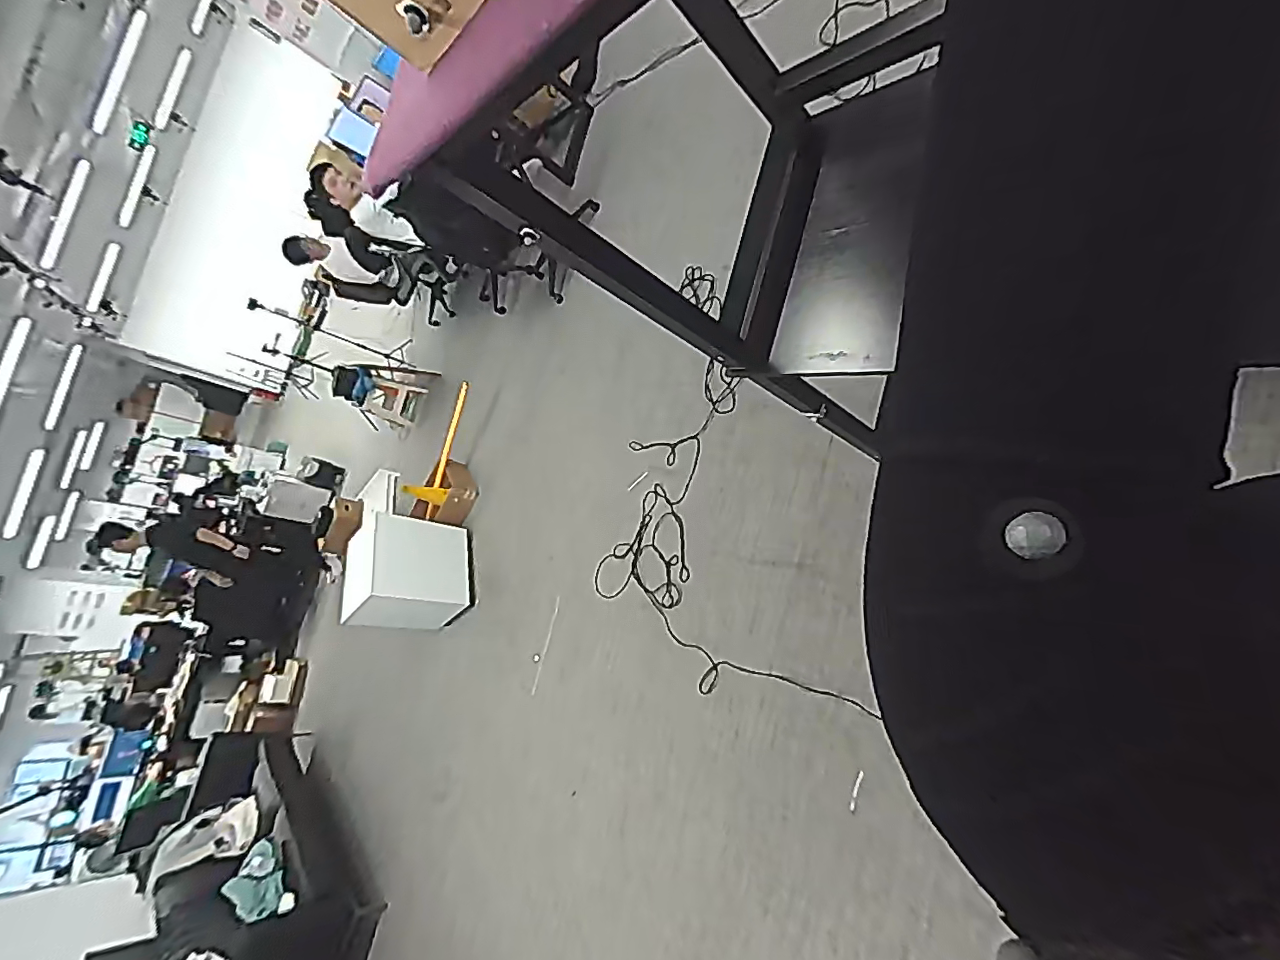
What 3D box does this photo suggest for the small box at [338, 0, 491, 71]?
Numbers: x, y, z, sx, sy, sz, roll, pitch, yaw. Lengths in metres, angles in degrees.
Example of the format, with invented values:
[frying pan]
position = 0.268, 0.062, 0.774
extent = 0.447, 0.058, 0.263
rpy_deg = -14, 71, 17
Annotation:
[small box]
position = -0.212, -0.525, 0.474
extent = 0.168, 0.176, 0.179
rpy_deg = 5, 81, 50
